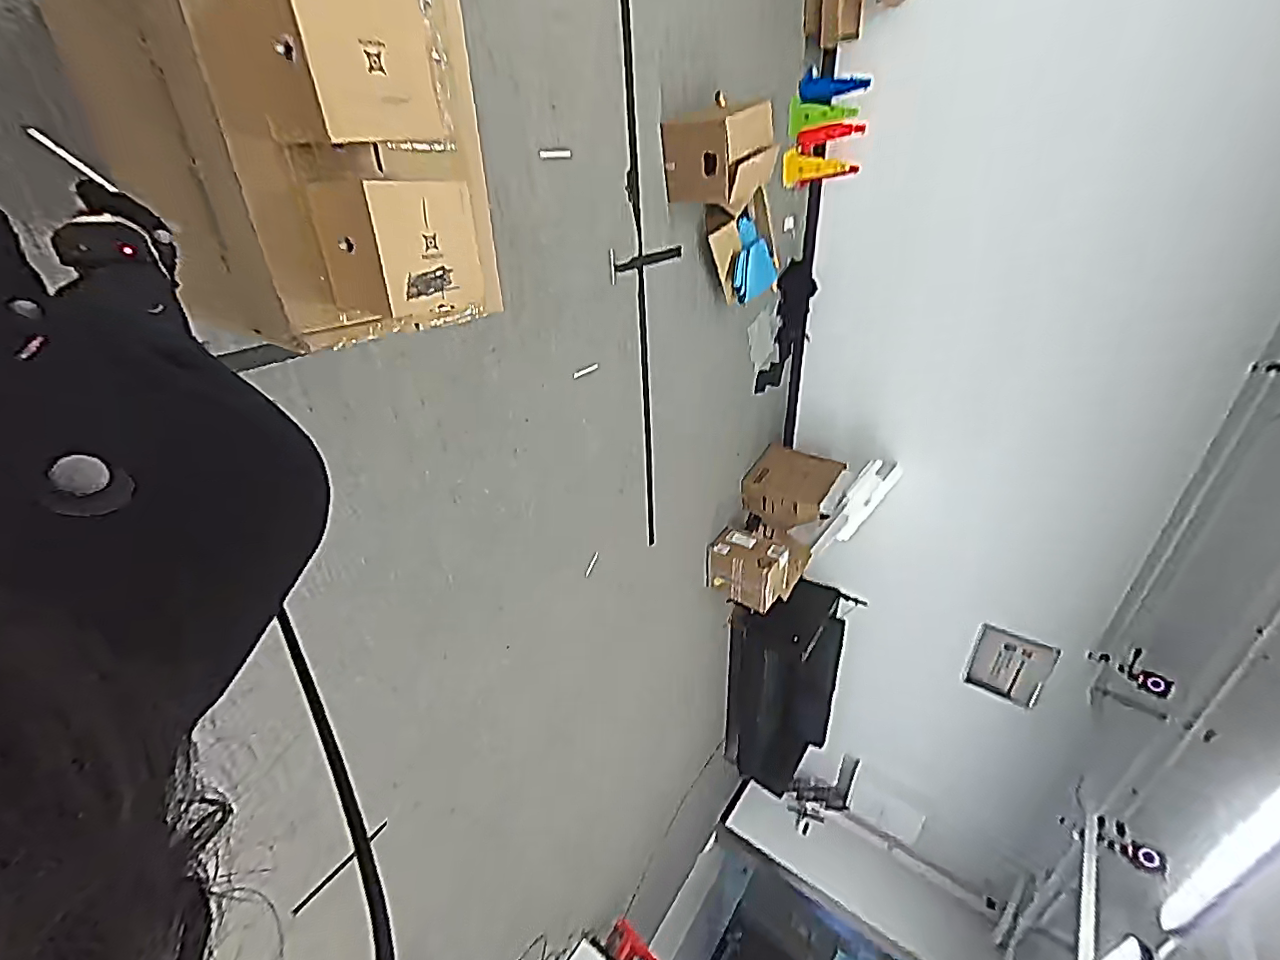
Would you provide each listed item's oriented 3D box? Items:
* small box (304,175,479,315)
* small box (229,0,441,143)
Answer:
[{"bbox_3d":[-0.375,-0.361,0.826,0.168,0.176,0.179,-31,129,-45],"label":"small box"},{"bbox_3d":[-0.393,-0.545,0.702,0.168,0.176,0.179,-34,135,-42],"label":"small box"}]
